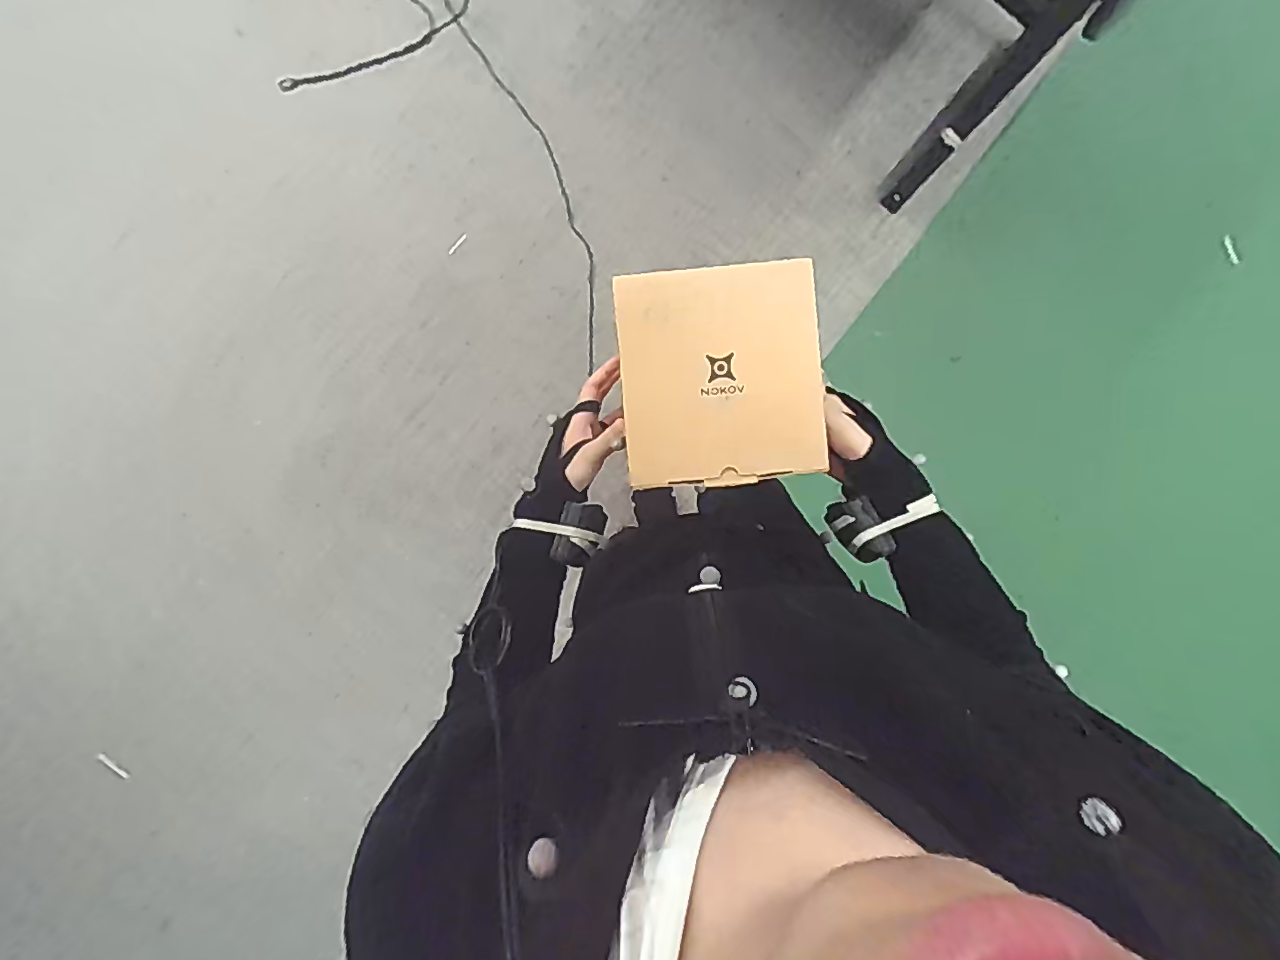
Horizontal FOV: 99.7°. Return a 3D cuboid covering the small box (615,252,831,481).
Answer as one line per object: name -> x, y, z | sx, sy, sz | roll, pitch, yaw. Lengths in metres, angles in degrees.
small box -> 0.065, -0.091, 0.512 | 0.168, 0.176, 0.179 | -5, 91, 0
